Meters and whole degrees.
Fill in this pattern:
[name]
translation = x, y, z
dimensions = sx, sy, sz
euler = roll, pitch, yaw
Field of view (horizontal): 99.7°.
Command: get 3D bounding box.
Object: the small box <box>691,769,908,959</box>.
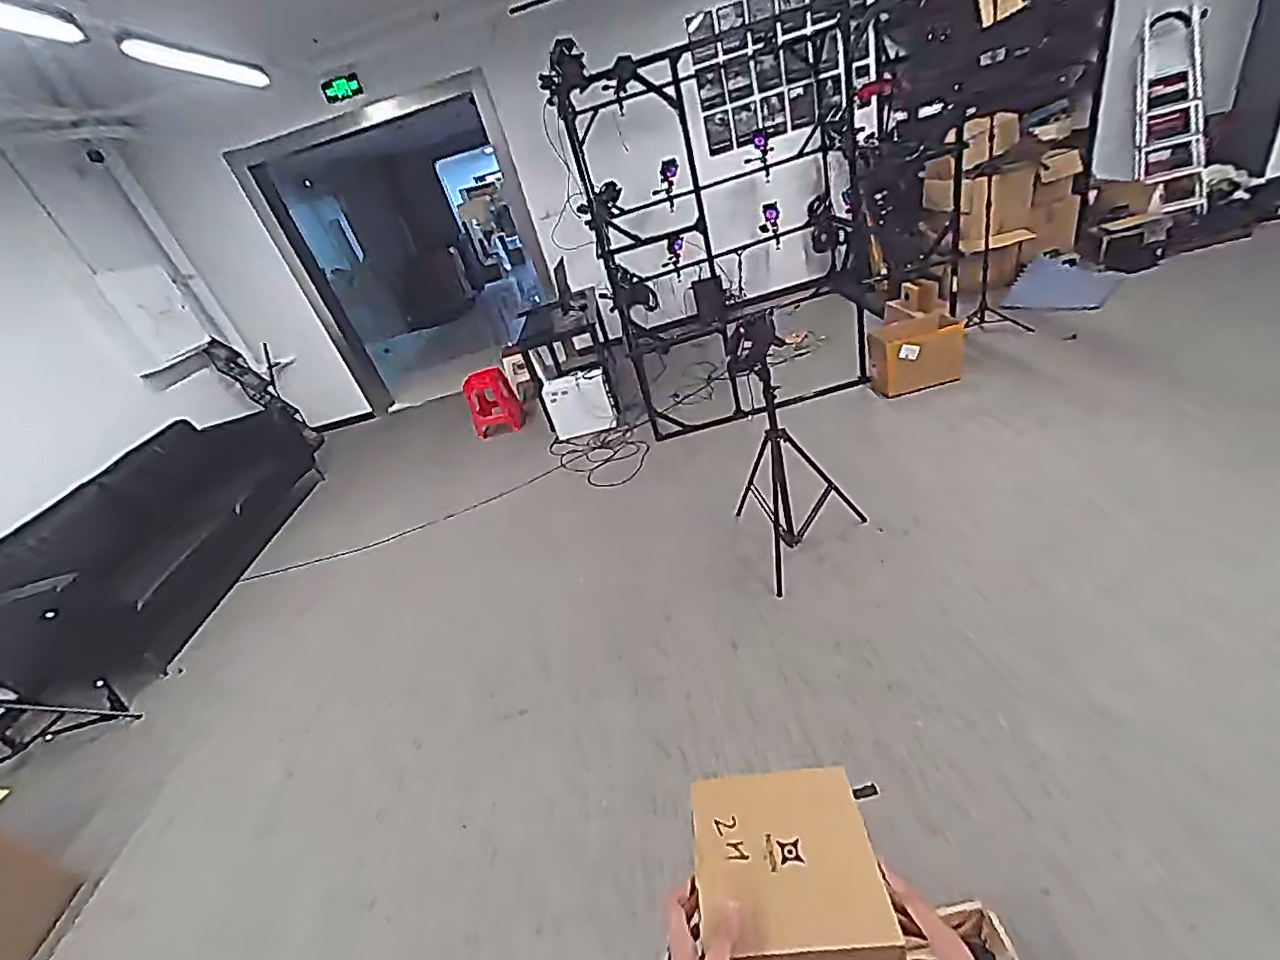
[small box]
translation = 0.154, 0.437, 0.564
dimensions = 0.179, 0.176, 0.168
euler = -10, 26, 5
